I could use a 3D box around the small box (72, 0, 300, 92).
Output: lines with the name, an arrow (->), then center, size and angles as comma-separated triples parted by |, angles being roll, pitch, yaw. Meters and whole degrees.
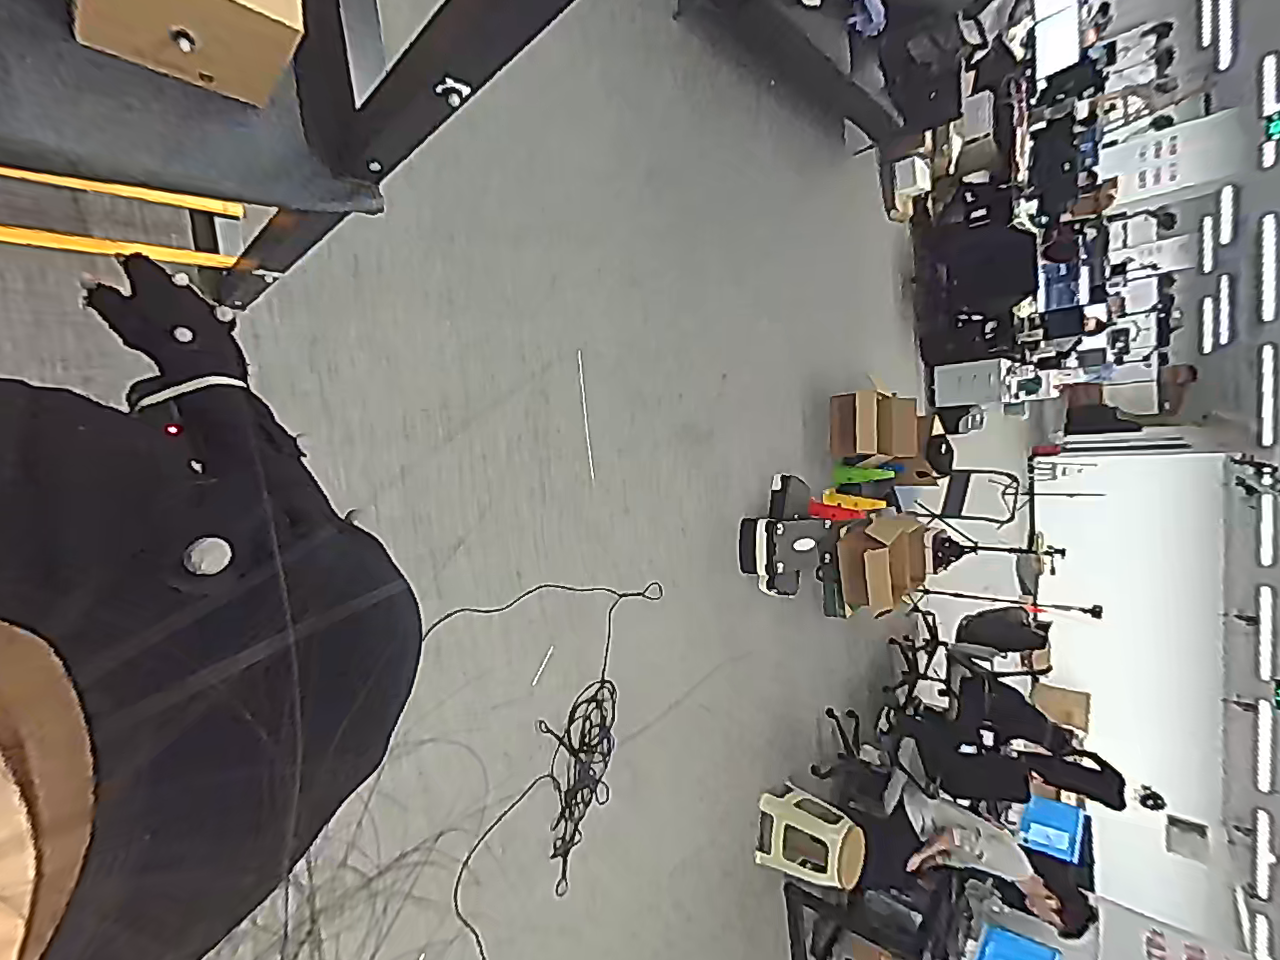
small box -> -0.471, -0.552, 0.555 | 0.168, 0.176, 0.179 | -6, 94, -48
